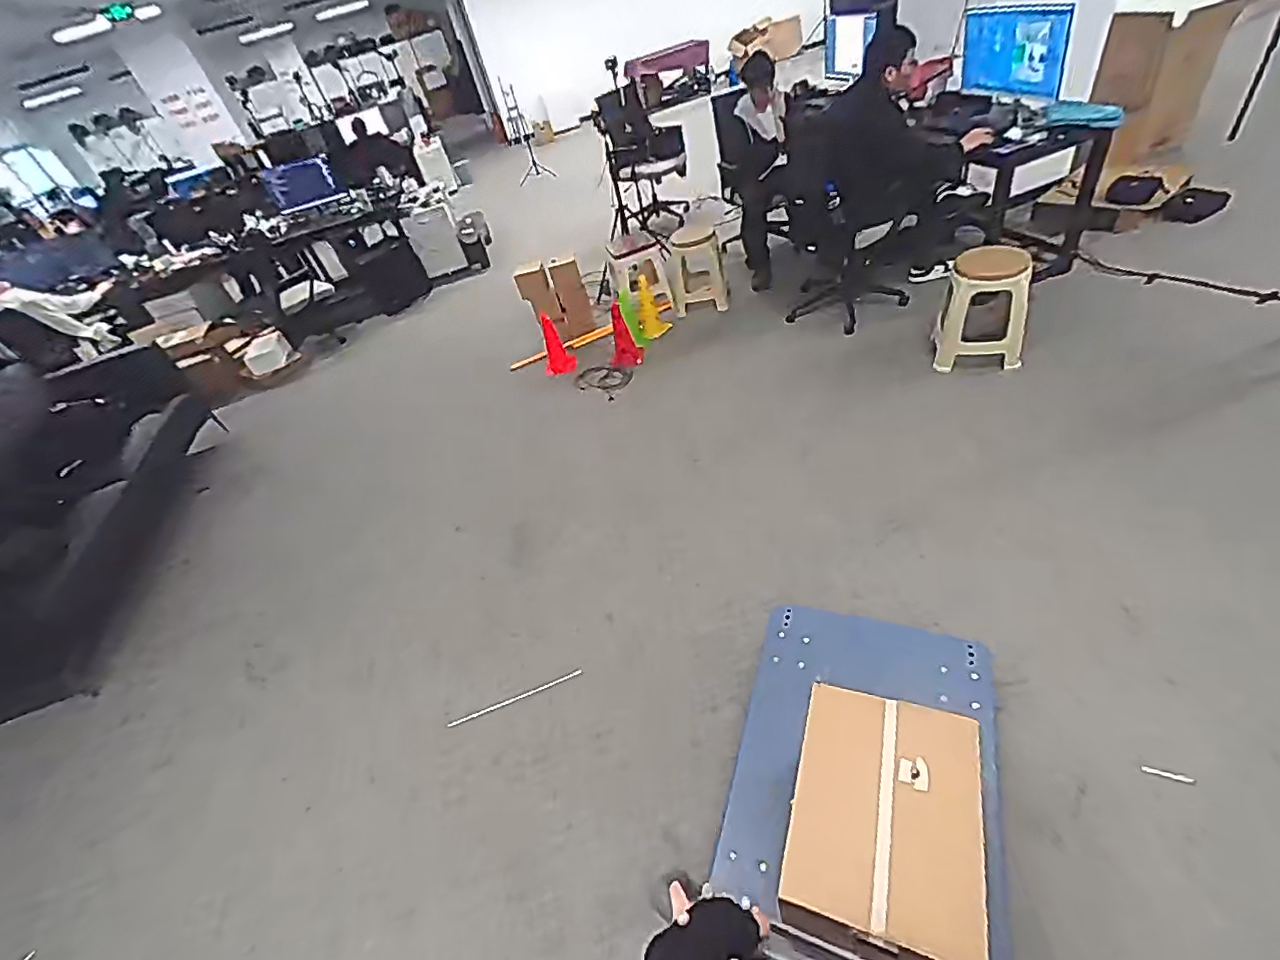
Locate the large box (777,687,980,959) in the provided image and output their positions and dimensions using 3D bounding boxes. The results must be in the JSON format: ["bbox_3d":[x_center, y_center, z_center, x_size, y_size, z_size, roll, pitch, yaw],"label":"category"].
[{"bbox_3d":[0.475,0.712,1.102,0.320,0.320,0.408,6,45,24],"label":"large box"}]
